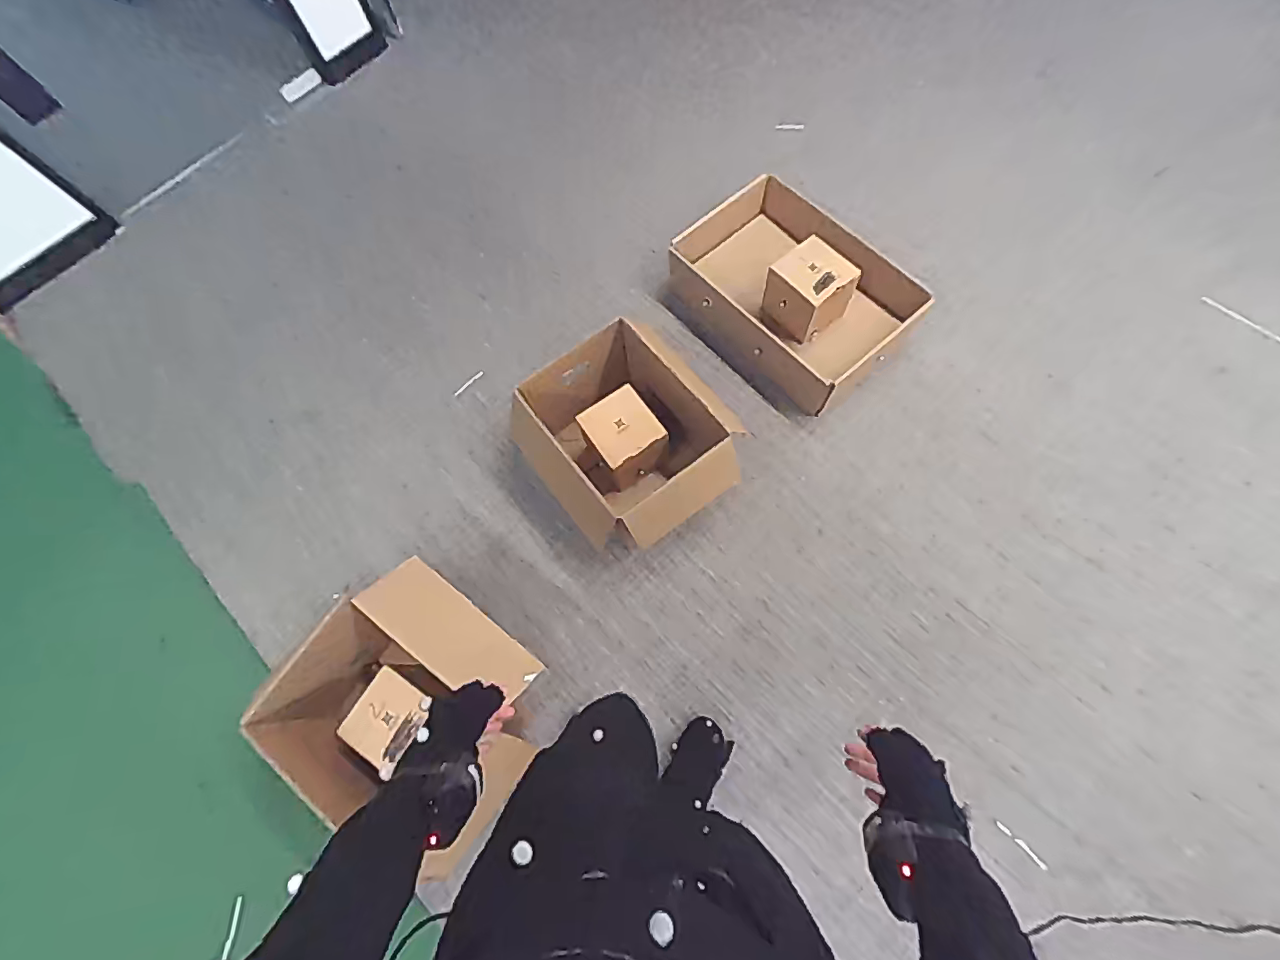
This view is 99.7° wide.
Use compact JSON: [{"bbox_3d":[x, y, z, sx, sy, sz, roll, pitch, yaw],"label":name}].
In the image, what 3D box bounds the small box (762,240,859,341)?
[{"bbox_3d":[0.461,-0.510,1.490,0.168,0.176,0.179,-37,70,-10],"label":"small box"}]
